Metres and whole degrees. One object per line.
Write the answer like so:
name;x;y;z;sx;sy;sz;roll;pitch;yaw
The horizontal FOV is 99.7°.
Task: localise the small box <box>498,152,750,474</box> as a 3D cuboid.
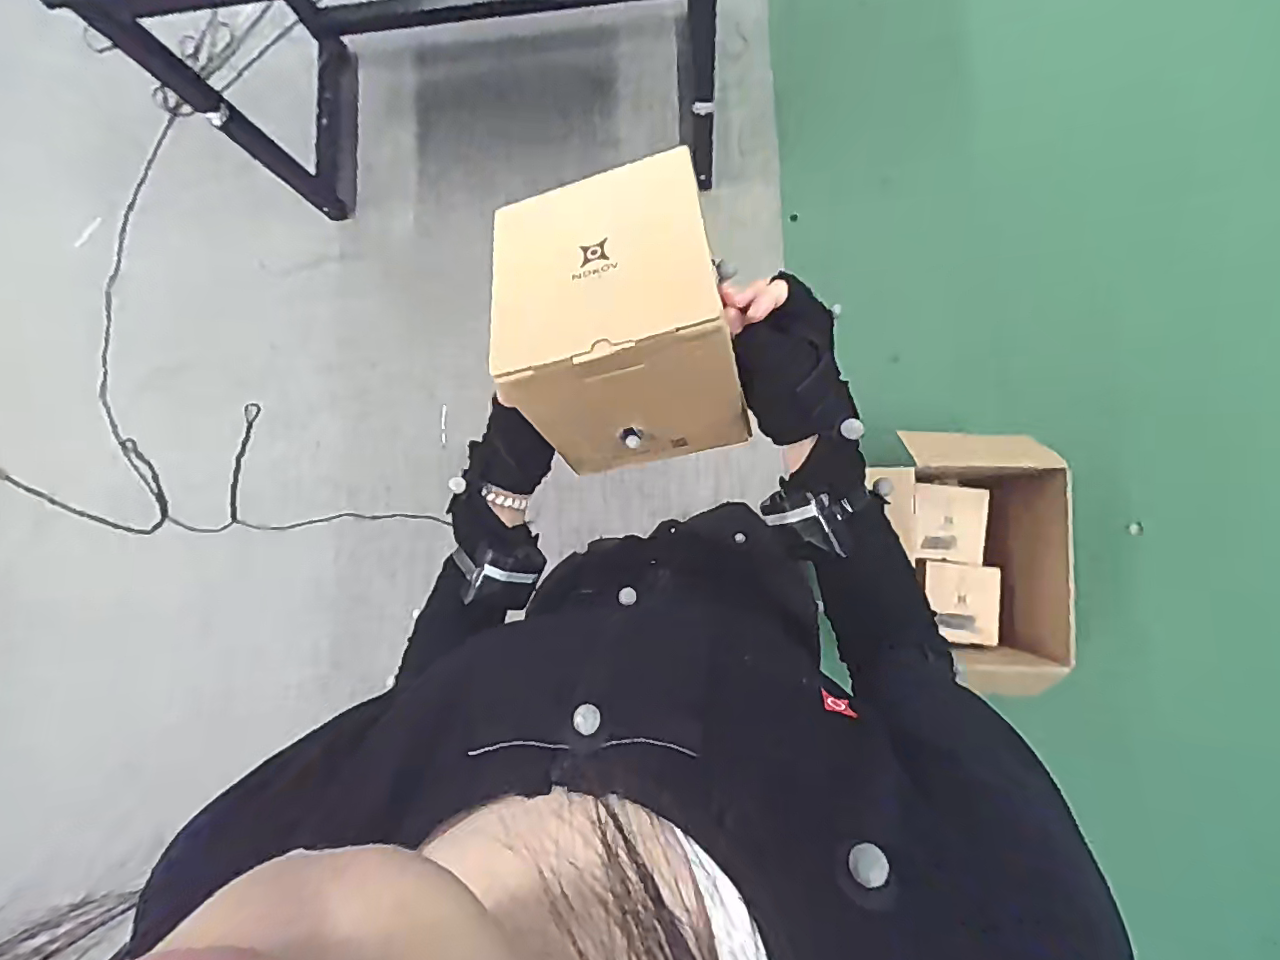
small box;-0.008;-0.129;0.466;0.168;0.176;0.179;-14;65;11
